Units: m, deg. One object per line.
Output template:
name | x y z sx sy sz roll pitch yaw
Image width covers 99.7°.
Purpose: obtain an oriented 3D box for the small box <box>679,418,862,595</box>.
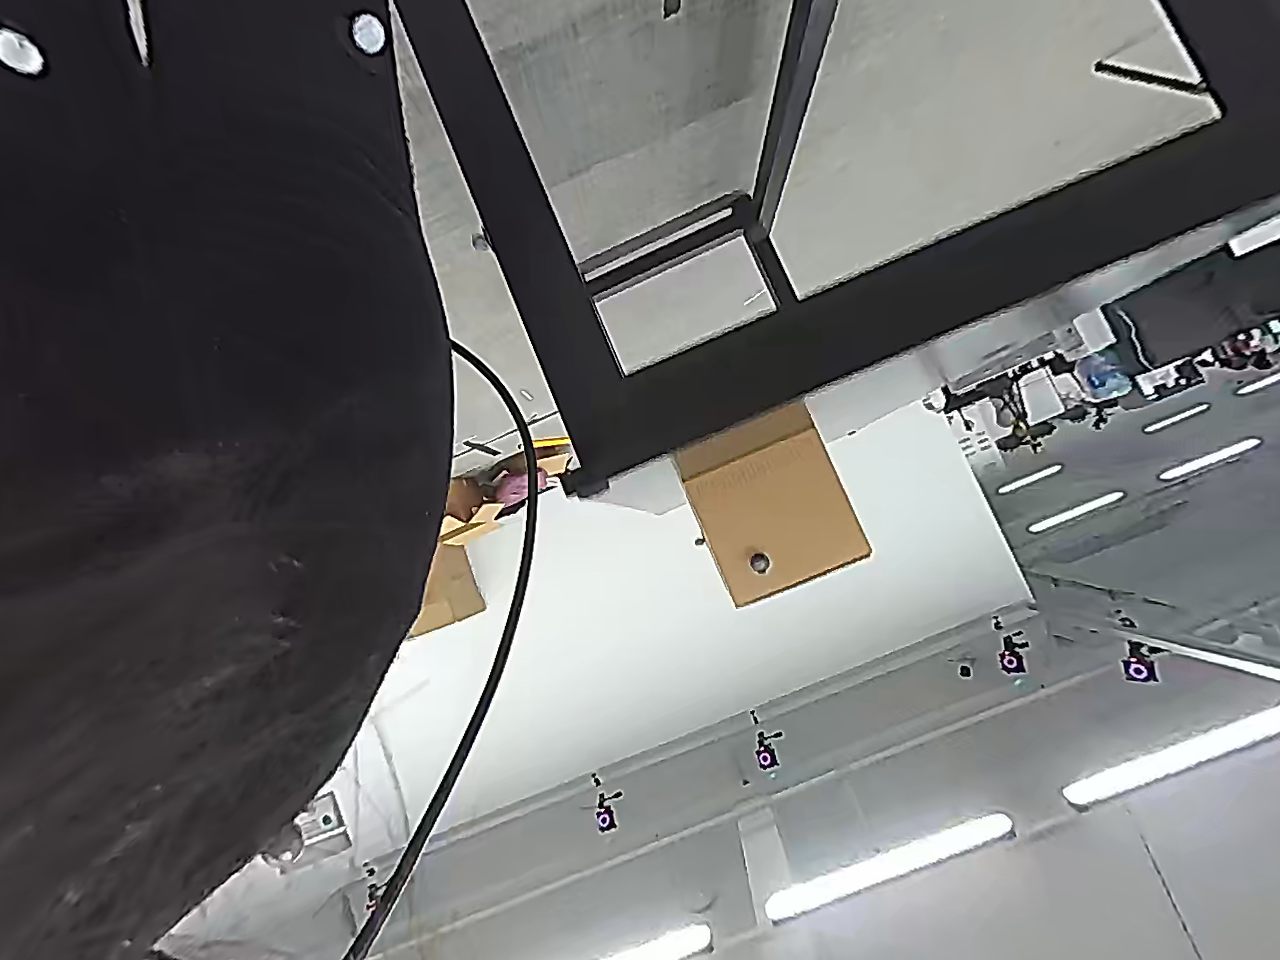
small box | 0.160 0.035 0.731 0.179 0.176 0.168 -24 175 3
